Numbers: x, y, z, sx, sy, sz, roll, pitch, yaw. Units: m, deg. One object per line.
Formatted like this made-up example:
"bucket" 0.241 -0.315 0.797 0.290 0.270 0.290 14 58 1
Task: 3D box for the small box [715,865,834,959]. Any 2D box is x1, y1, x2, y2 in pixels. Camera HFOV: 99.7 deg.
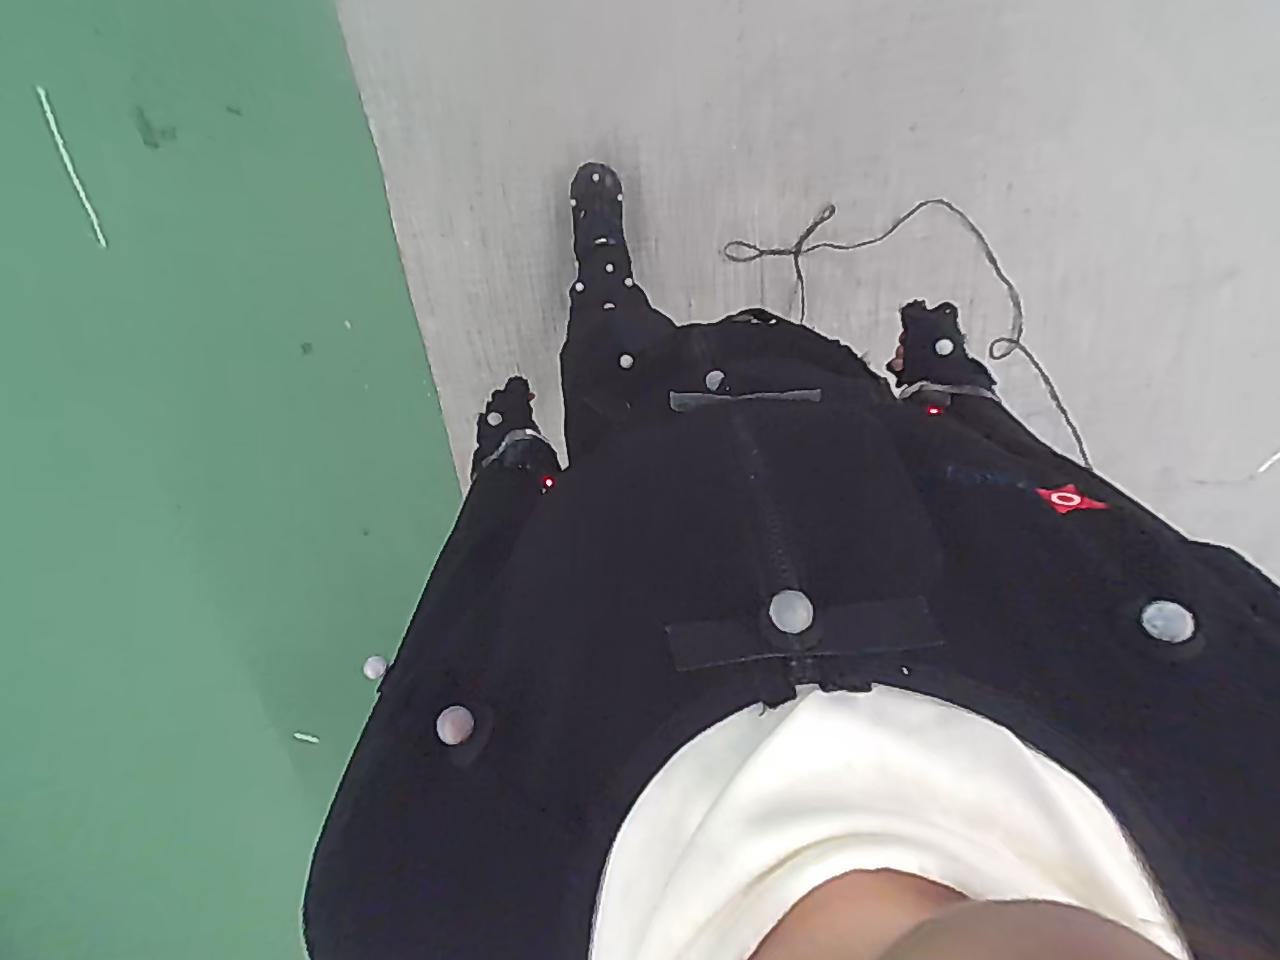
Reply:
"small box" 0.225 0.788 0.899 0.168 0.176 0.179 -10 109 1
